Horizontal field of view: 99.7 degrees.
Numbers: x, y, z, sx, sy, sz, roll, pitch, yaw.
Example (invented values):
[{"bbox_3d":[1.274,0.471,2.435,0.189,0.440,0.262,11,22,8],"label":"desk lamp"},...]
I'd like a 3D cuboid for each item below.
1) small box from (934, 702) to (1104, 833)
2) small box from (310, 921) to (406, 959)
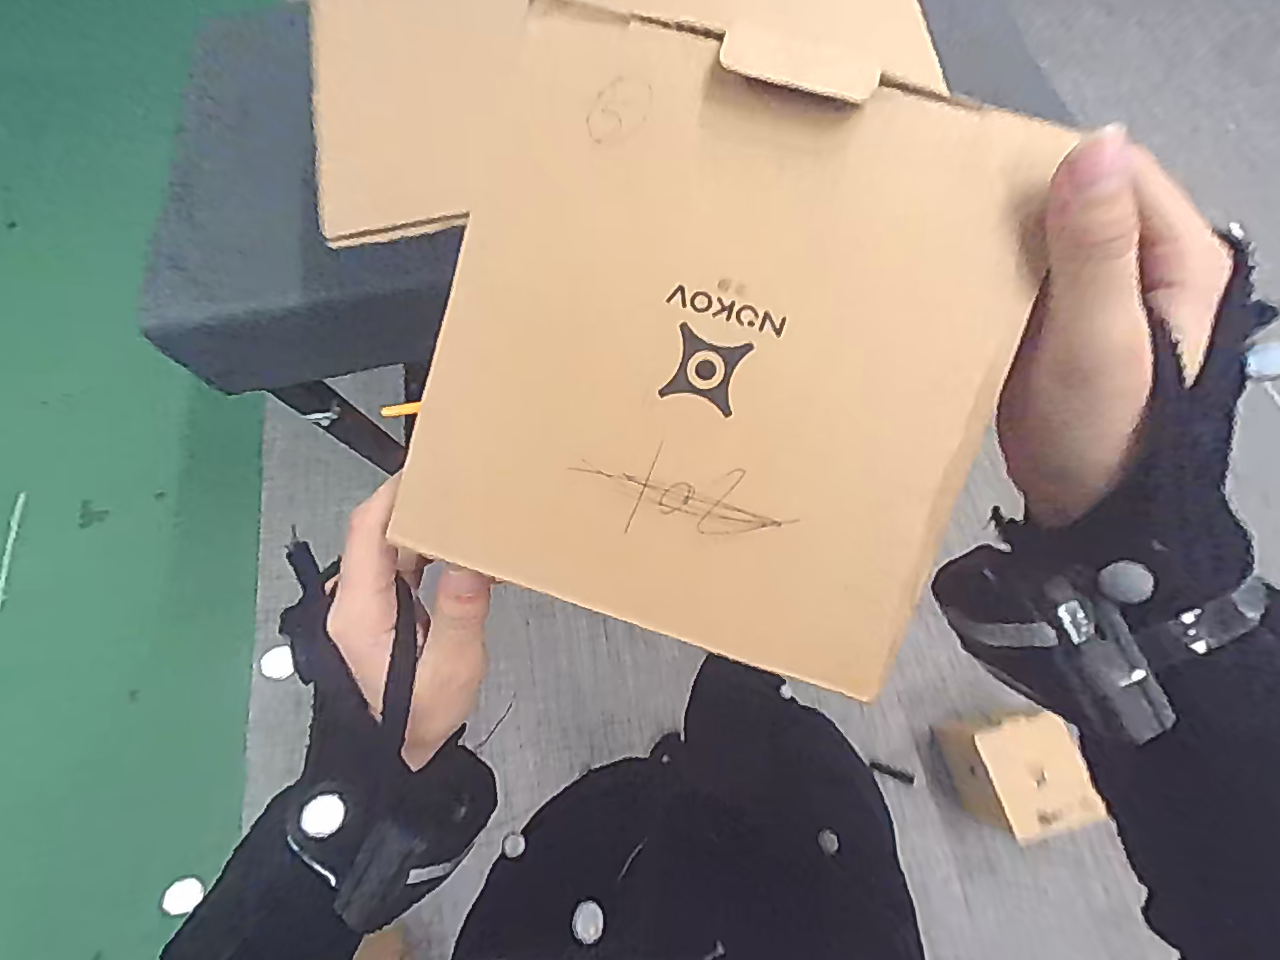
[{"bbox_3d":[0.698,0.532,1.024,0.168,0.176,0.179,-15,69,-2],"label":"small box"},{"bbox_3d":[-0.529,0.937,0.962,0.179,0.176,0.168,-20,70,-2],"label":"small box"}]
